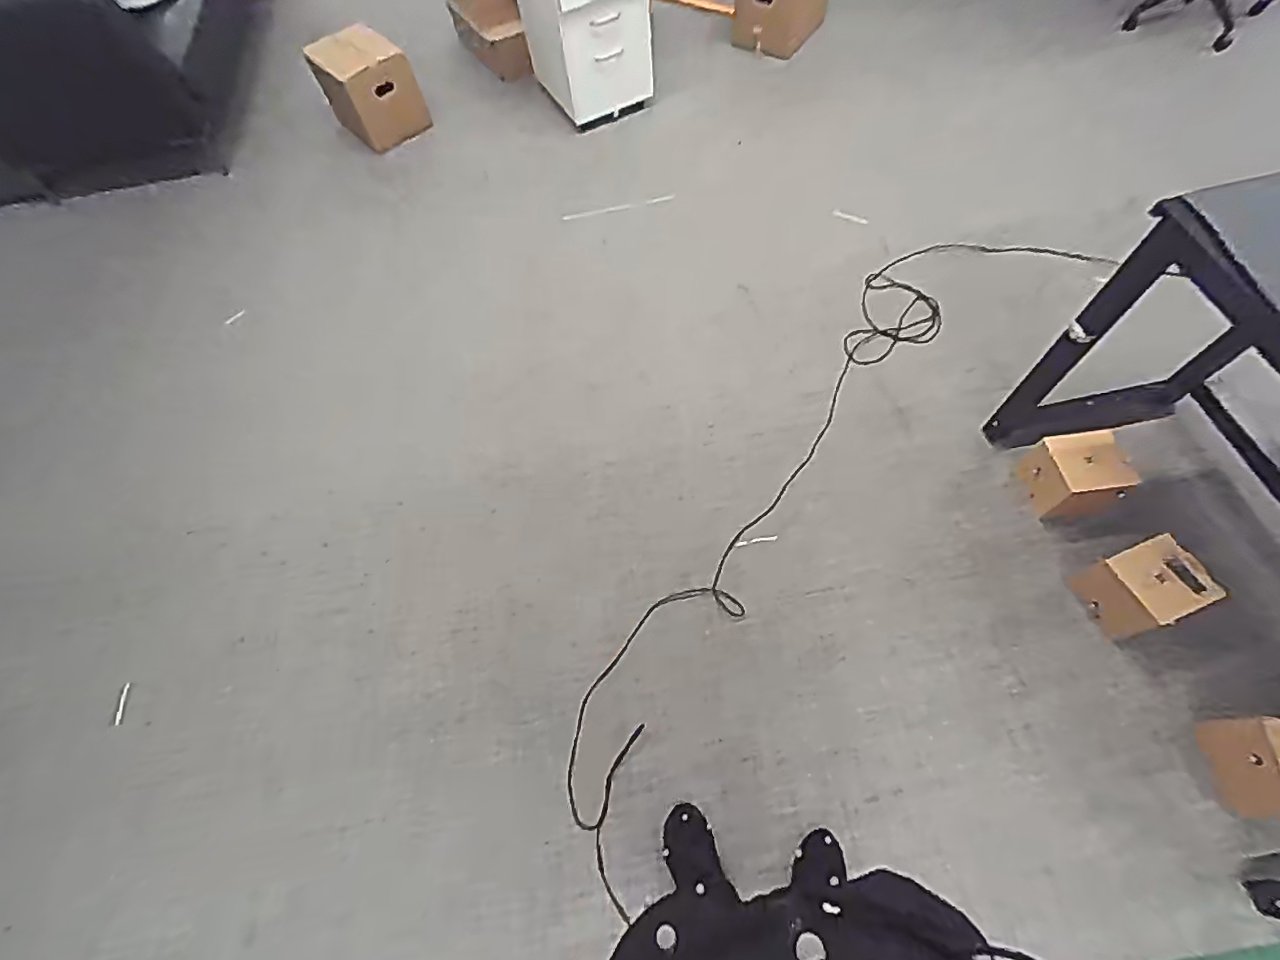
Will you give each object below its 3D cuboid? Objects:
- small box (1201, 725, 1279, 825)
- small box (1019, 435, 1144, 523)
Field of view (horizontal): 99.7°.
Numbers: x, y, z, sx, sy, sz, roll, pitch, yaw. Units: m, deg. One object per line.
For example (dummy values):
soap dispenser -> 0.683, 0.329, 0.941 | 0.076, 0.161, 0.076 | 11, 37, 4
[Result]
small box -> 1.315, 0.600, 1.094 | 0.168, 0.176, 0.179 | 0, 63, 6
small box -> 1.150, 0.003, 1.434 | 0.179, 0.176, 0.168 | -7, 61, 1
